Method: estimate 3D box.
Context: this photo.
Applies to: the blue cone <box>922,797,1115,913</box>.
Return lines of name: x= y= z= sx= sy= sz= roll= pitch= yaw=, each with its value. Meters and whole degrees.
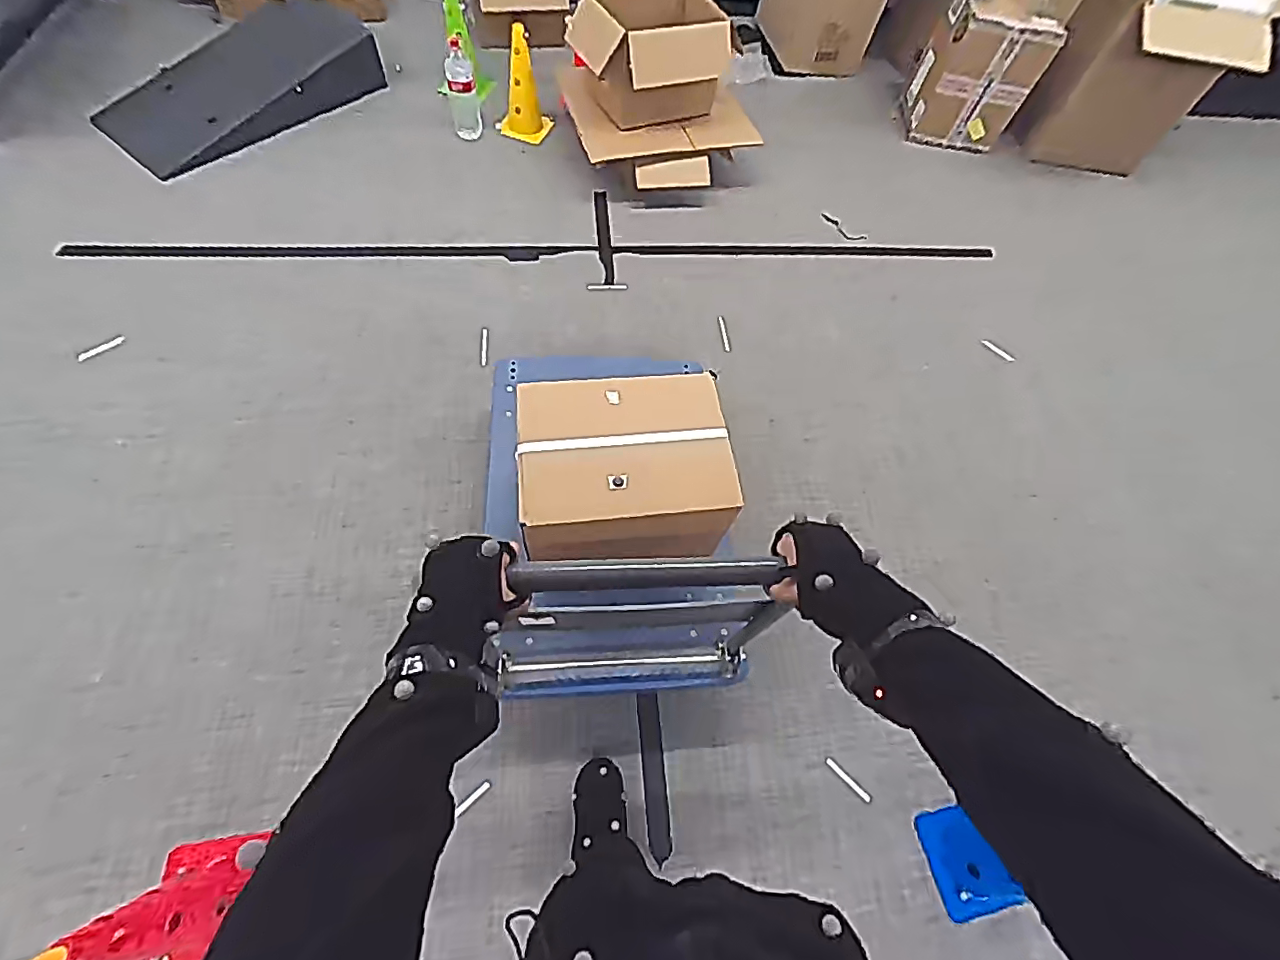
blue cone: x=0.750 y=0.743 z=1.046 sx=0.193 sy=0.380 sz=0.192 roll=-6 pitch=62 yaw=-10
